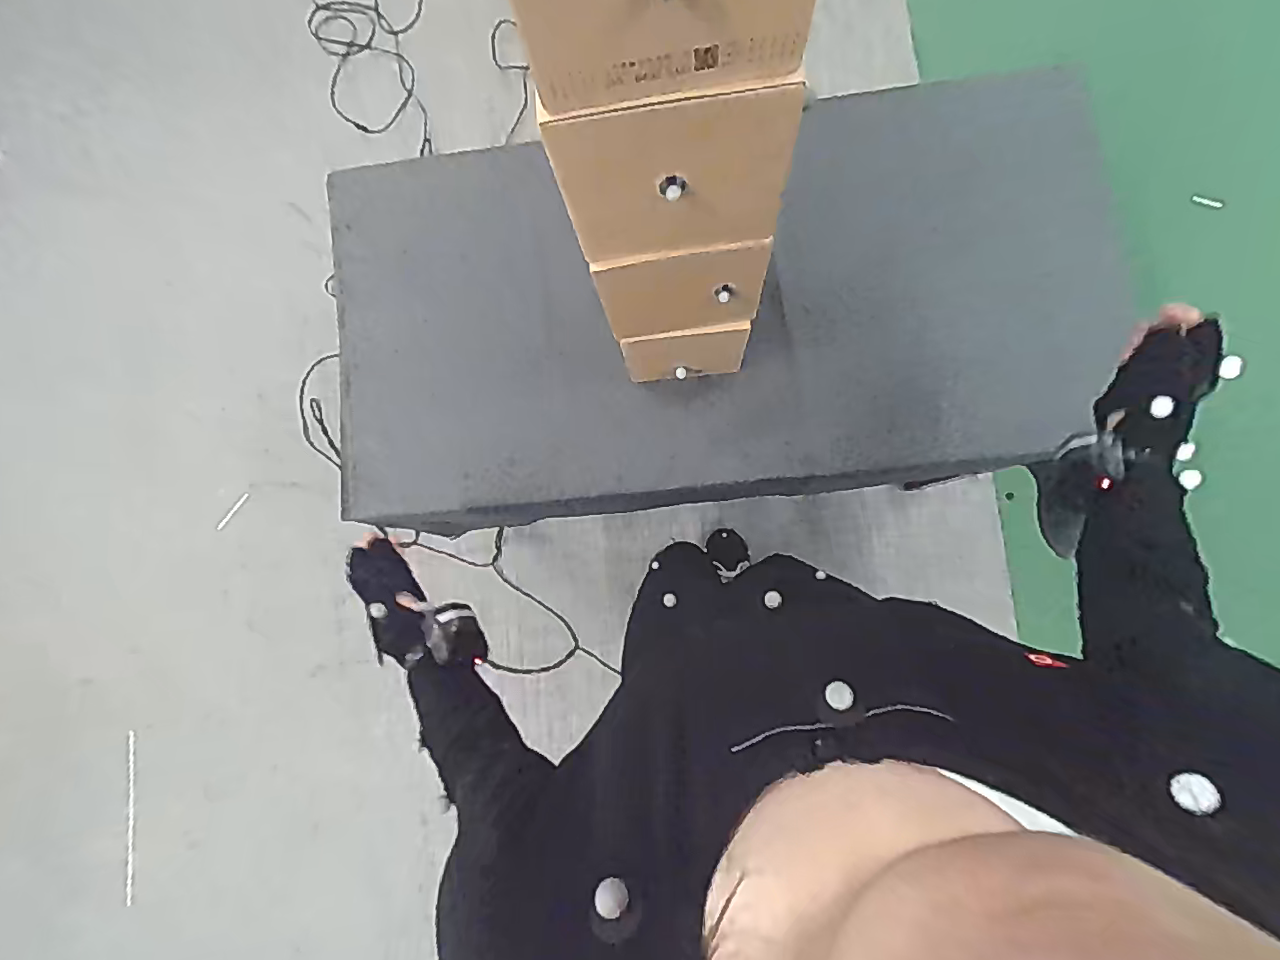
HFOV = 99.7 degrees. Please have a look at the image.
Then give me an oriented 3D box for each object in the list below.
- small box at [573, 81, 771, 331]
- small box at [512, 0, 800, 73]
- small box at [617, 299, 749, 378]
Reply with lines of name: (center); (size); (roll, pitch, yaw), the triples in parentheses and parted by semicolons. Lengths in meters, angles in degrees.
small box: (0.034, -0.281, 0.591); (0.179, 0.176, 0.168); (-7, 81, 5)
small box: (0.000, -0.348, 0.272); (0.168, 0.176, 0.179); (-6, 81, 5)
small box: (0.053, -0.256, 0.751); (0.168, 0.176, 0.179); (-5, 82, 5)
